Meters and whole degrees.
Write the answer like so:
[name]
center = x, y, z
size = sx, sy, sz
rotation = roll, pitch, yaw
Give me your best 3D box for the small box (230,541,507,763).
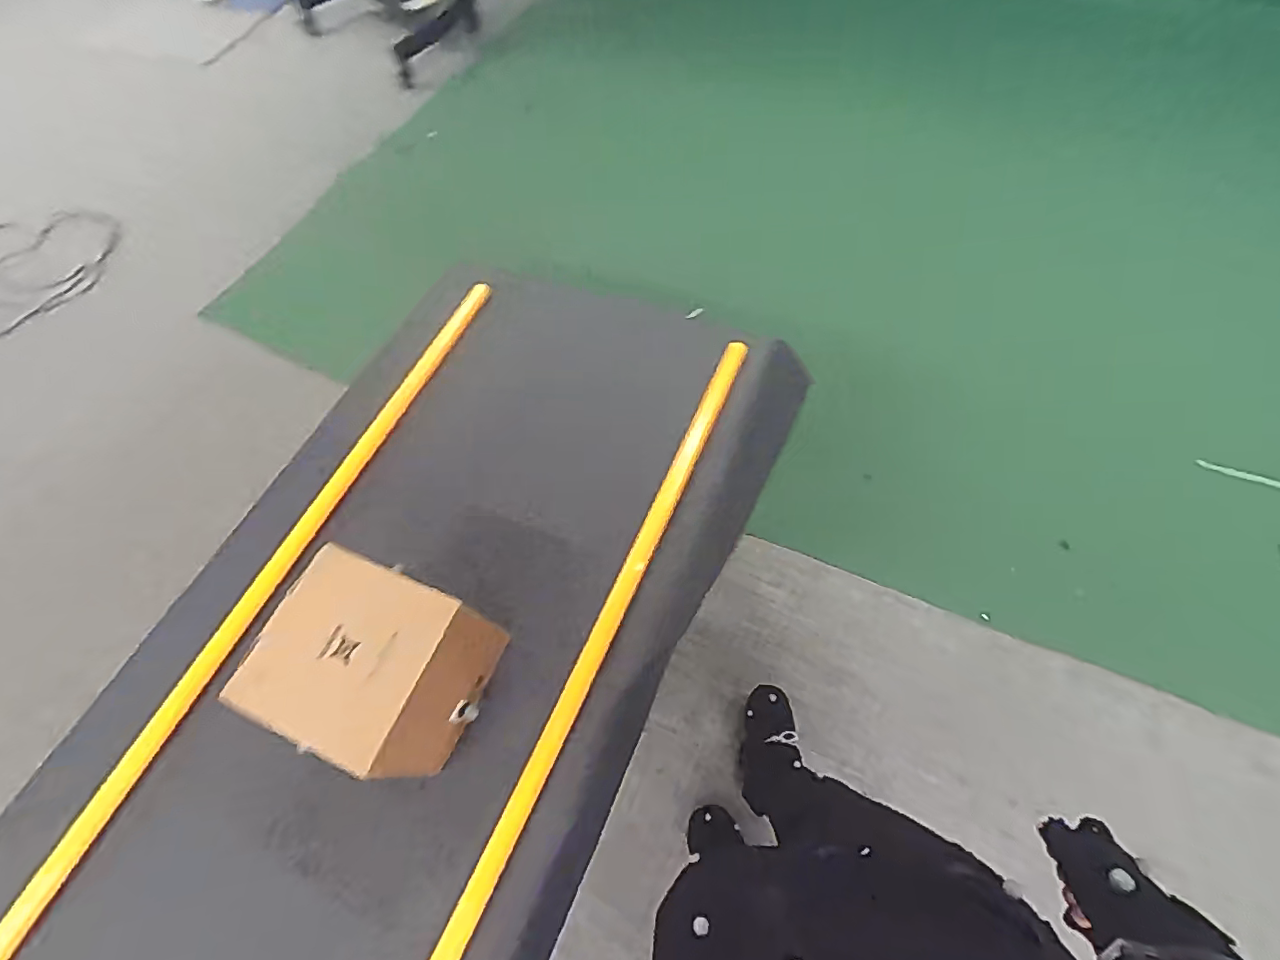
[small box]
center = -0.277, 0.193, 0.597
size = 0.179, 0.176, 0.168
rotation = 18, 67, 13
